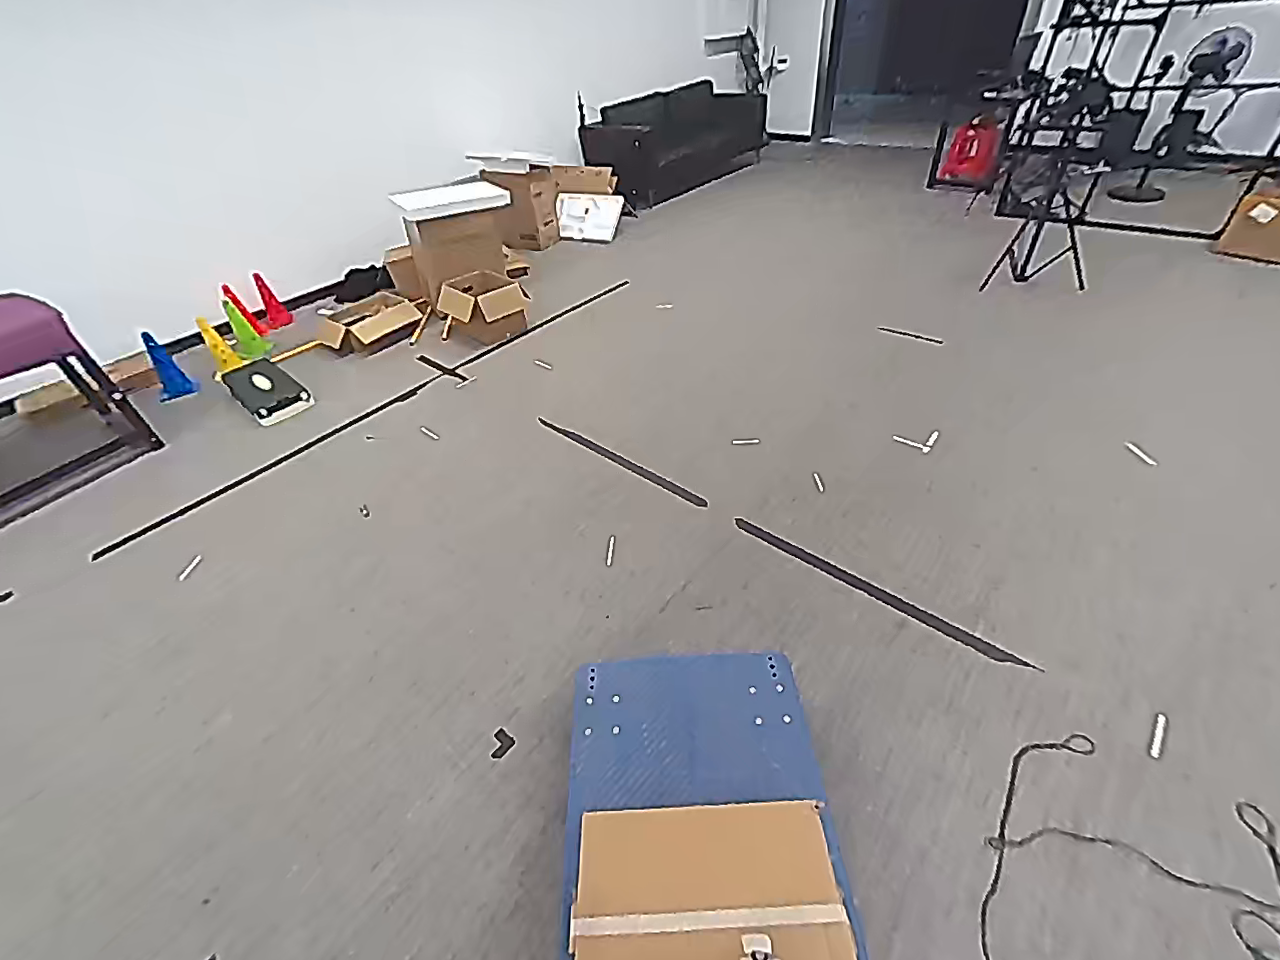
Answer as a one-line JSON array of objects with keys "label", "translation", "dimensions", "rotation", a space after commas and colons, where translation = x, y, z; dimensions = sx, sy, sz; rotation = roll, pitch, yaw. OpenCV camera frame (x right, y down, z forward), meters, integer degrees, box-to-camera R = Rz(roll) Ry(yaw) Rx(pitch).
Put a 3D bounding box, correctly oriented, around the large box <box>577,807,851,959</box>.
[{"label": "large box", "translation": [0.111, 0.787, 0.902], "dimensions": [0.408, 0.320, 0.320], "rotation": [-4, 41, 1]}]
